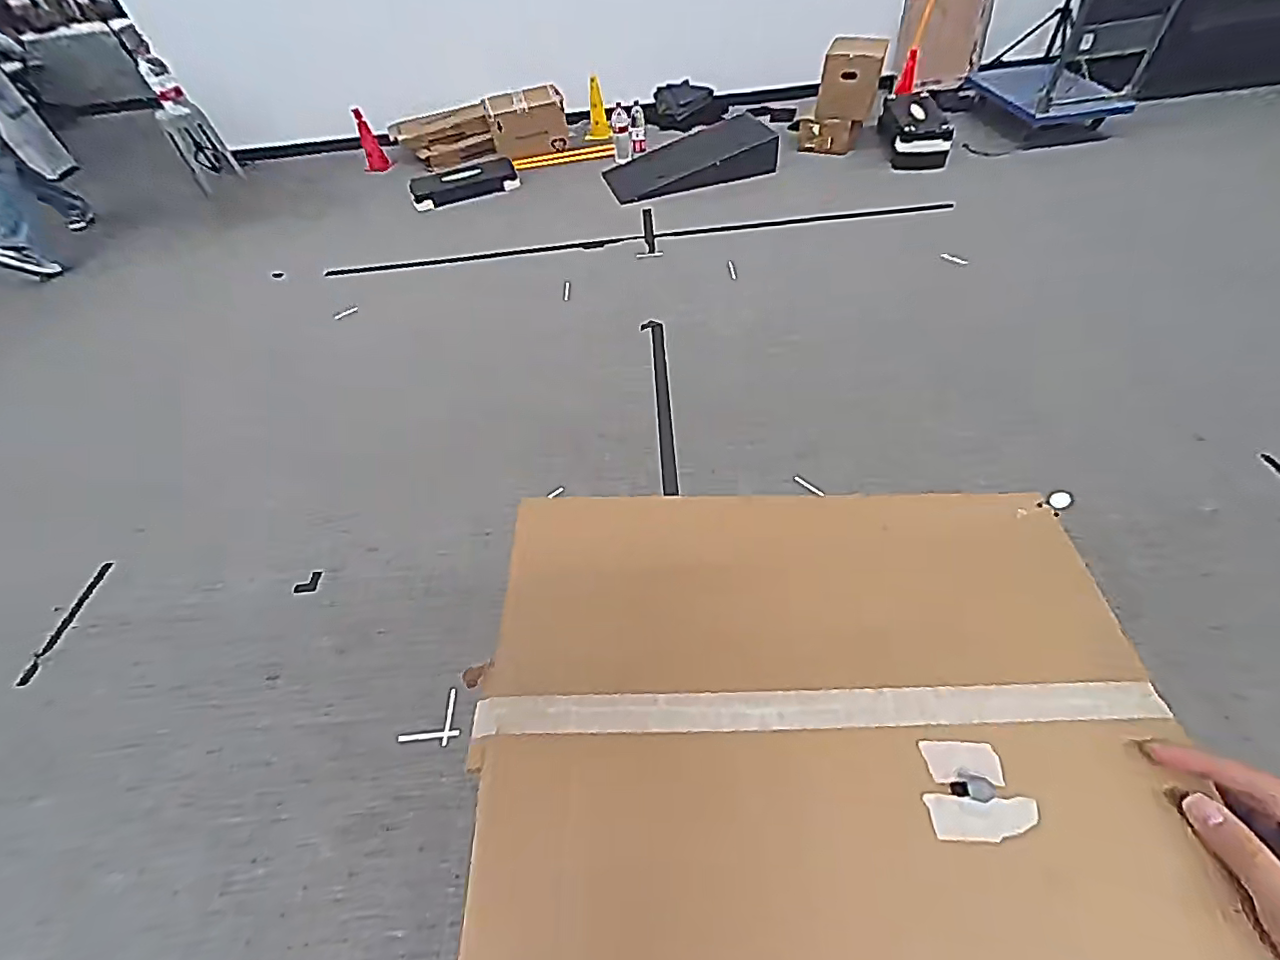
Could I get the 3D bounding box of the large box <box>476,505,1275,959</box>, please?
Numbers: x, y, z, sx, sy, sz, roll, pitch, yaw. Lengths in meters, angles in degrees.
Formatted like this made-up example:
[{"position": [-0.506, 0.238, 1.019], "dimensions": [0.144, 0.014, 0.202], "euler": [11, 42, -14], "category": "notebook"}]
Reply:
[{"position": [0.109, 0.235, 0.451], "dimensions": [0.408, 0.320, 0.320], "euler": [0, 54, -2], "category": "large box"}]
